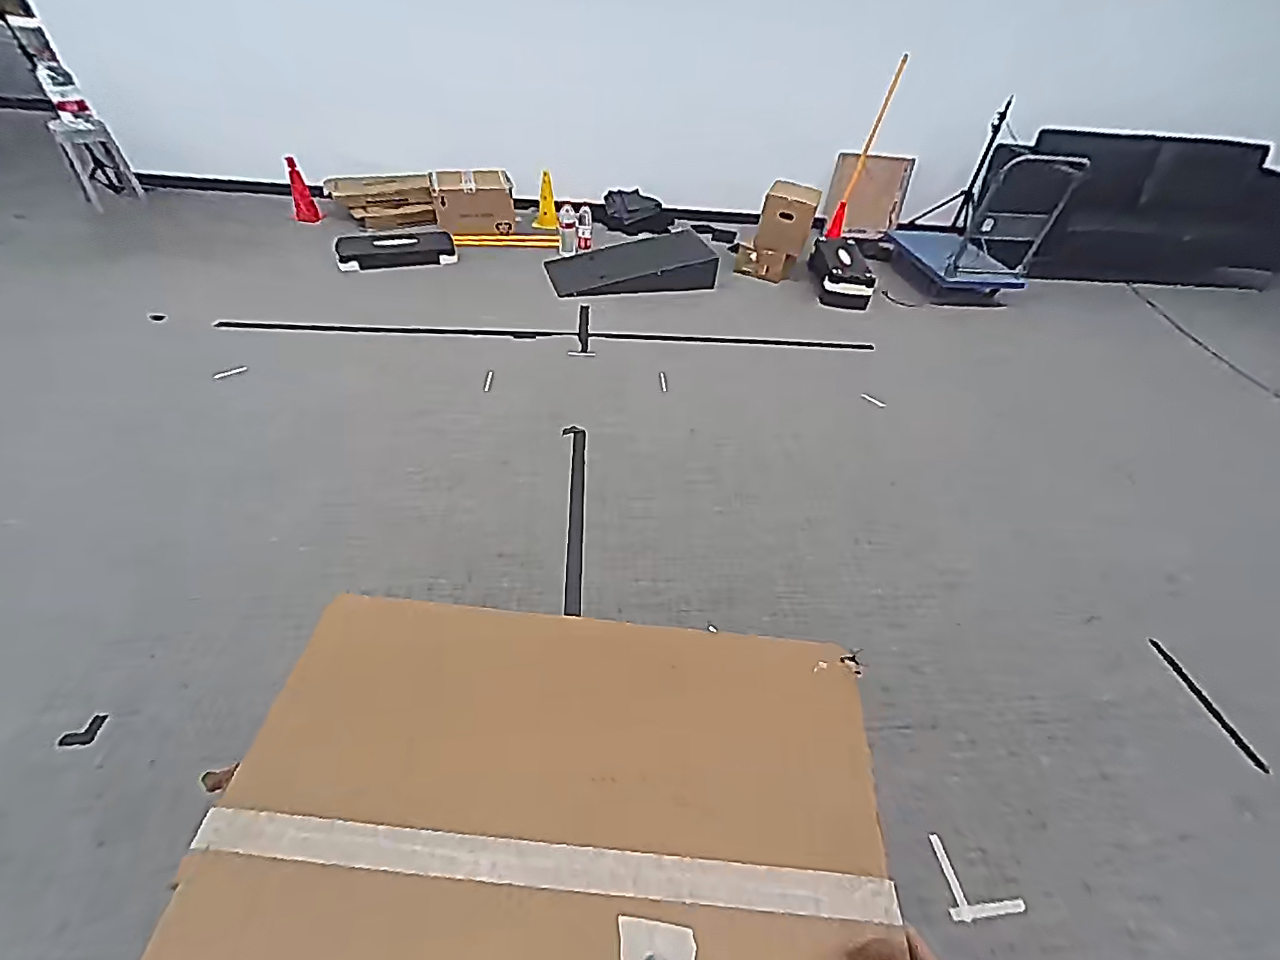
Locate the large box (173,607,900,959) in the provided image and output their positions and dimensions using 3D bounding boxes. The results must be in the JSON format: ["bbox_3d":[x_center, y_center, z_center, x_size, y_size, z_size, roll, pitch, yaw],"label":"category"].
[{"bbox_3d":[-0.057,0.328,0.437,0.408,0.320,0.320,6,50,1],"label":"large box"}]
